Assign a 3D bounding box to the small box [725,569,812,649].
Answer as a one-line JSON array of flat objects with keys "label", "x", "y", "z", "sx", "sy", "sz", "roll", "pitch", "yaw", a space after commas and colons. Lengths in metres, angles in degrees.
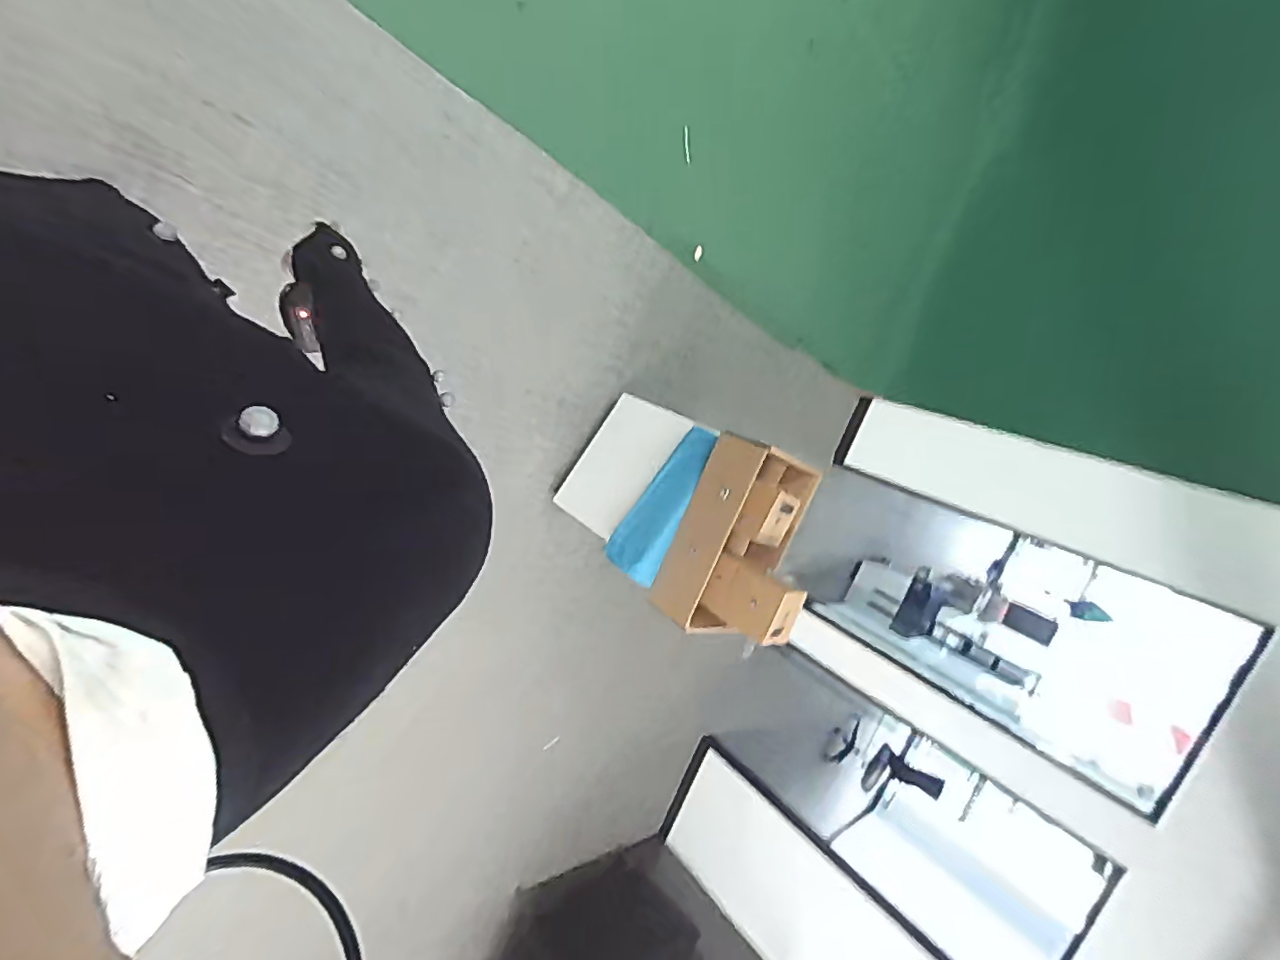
[{"label": "small box", "x": 0.385, "y": 0.393, "z": 1.647, "sx": 0.168, "sy": 0.176, "sz": 0.179, "roll": 16, "pitch": 98, "yaw": -49}]
